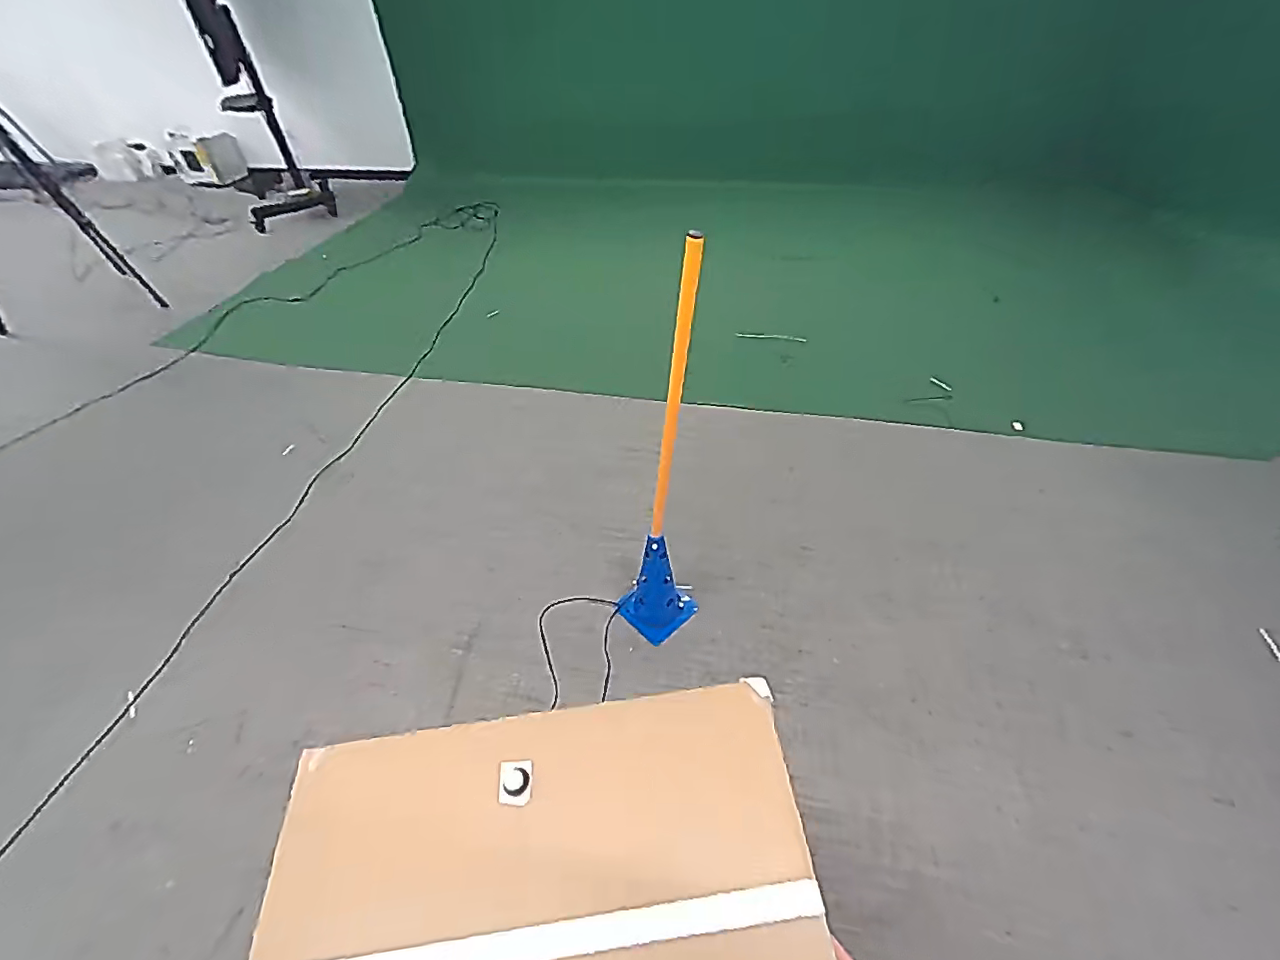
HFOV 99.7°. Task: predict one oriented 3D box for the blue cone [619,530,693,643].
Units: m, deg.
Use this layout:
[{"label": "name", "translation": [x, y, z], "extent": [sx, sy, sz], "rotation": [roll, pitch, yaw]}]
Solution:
[{"label": "blue cone", "translation": [0.049, 0.276, 1.567], "extent": [0.192, 0.380, 0.193], "rotation": [34, 53, 31]}]
